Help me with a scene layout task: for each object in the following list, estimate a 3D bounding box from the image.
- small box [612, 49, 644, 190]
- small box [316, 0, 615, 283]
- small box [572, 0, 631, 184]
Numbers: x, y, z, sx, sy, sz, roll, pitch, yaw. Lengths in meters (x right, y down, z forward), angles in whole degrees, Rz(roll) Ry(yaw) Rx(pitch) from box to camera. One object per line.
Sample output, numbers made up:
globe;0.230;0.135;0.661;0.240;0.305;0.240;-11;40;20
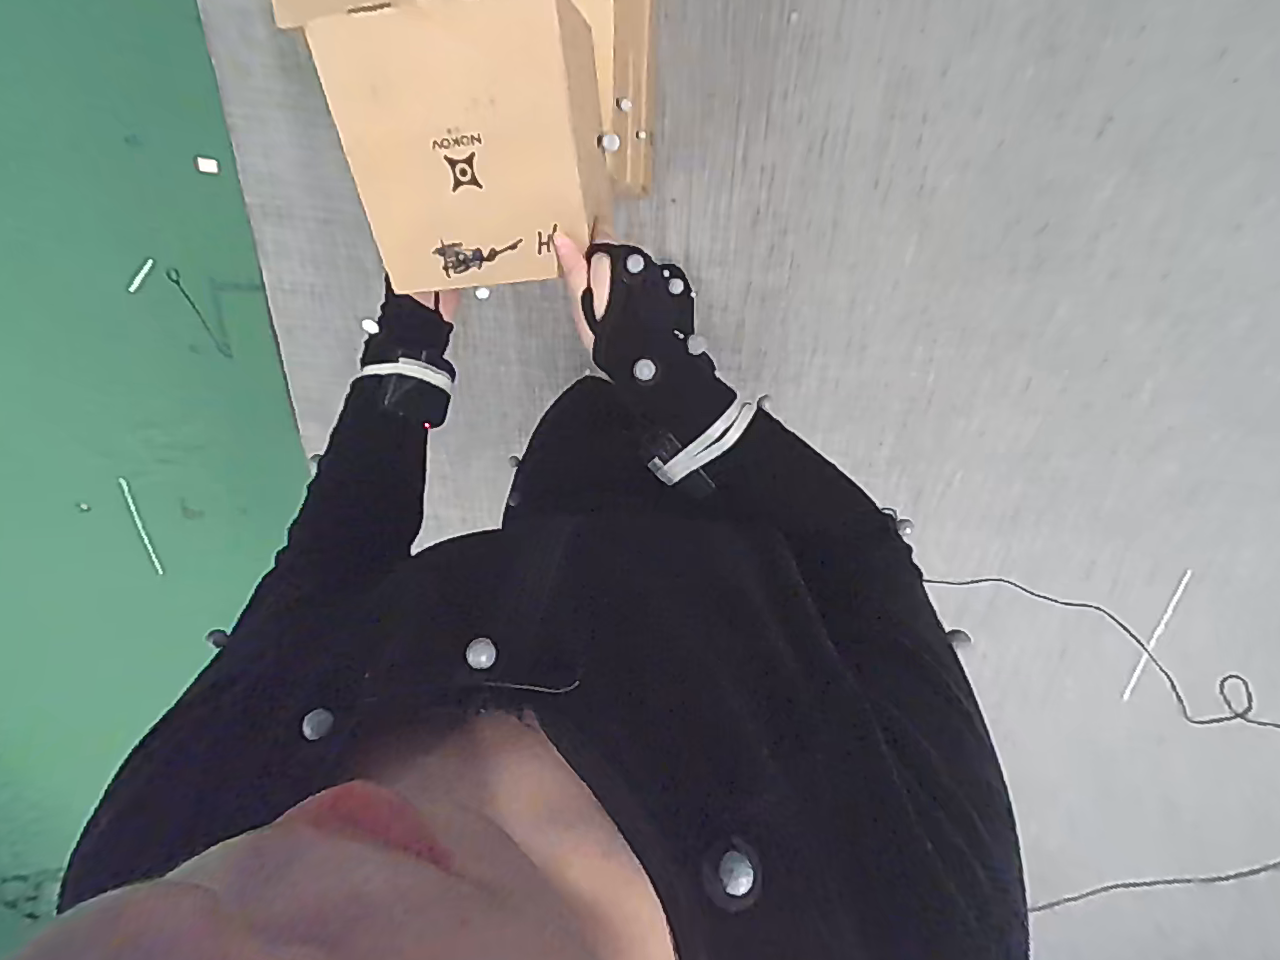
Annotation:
small box;-0.087;-0.559;0.852;0.179;0.176;0.168;5;114;3
small box;-0.117;-0.277;0.451;0.168;0.176;0.179;-2;122;7
small box;-0.102;-0.495;0.702;0.168;0.176;0.179;4;116;3
